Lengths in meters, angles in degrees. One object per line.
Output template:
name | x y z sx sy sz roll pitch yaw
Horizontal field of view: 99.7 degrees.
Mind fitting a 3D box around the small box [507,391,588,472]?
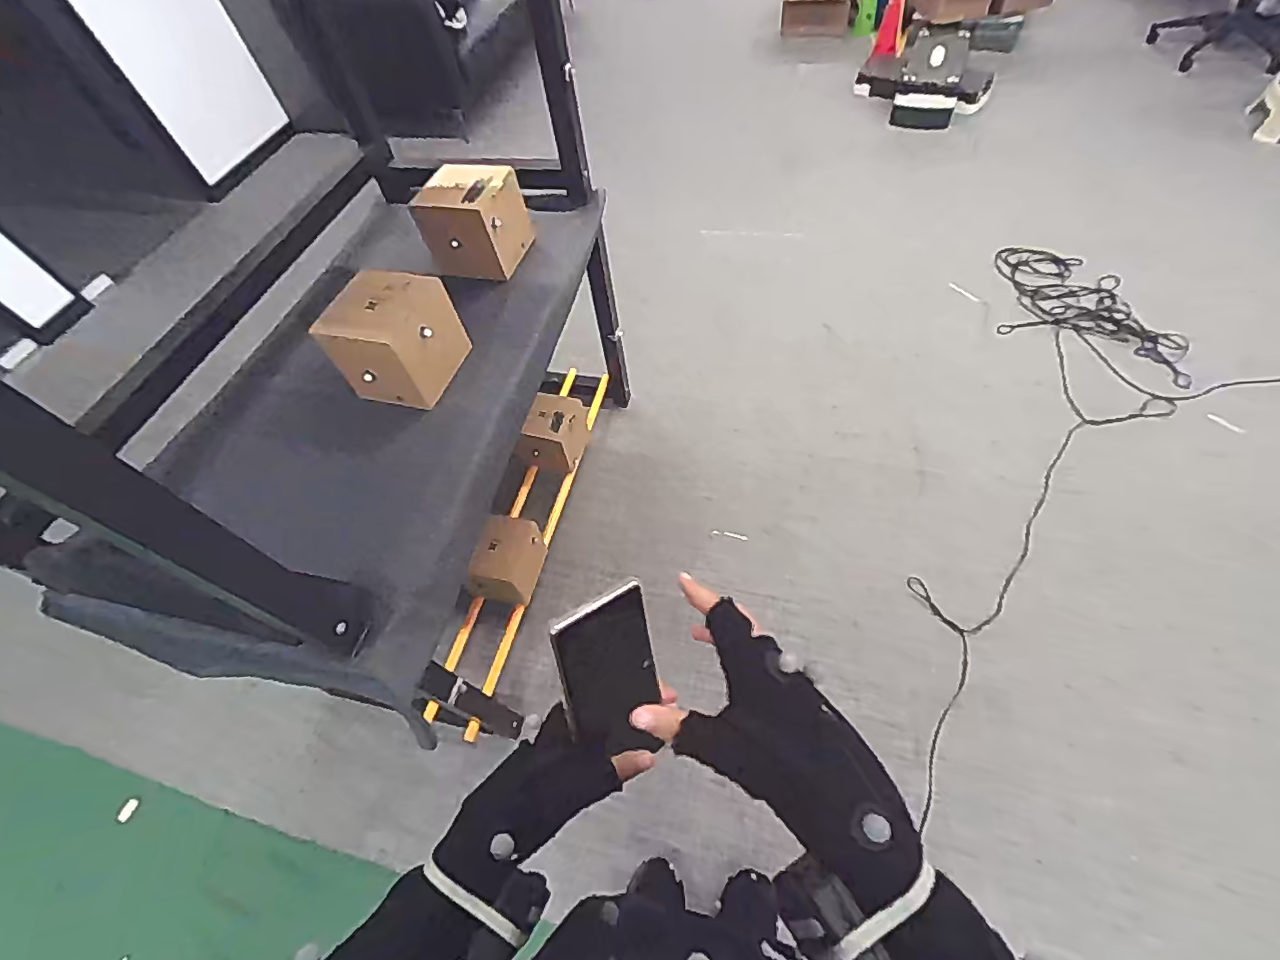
small box | -0.273 -0.144 1.648 0.179 0.176 0.168 12 58 14

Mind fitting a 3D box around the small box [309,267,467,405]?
small box | -0.446 -0.261 0.994 0.168 0.176 0.179 12 58 13
